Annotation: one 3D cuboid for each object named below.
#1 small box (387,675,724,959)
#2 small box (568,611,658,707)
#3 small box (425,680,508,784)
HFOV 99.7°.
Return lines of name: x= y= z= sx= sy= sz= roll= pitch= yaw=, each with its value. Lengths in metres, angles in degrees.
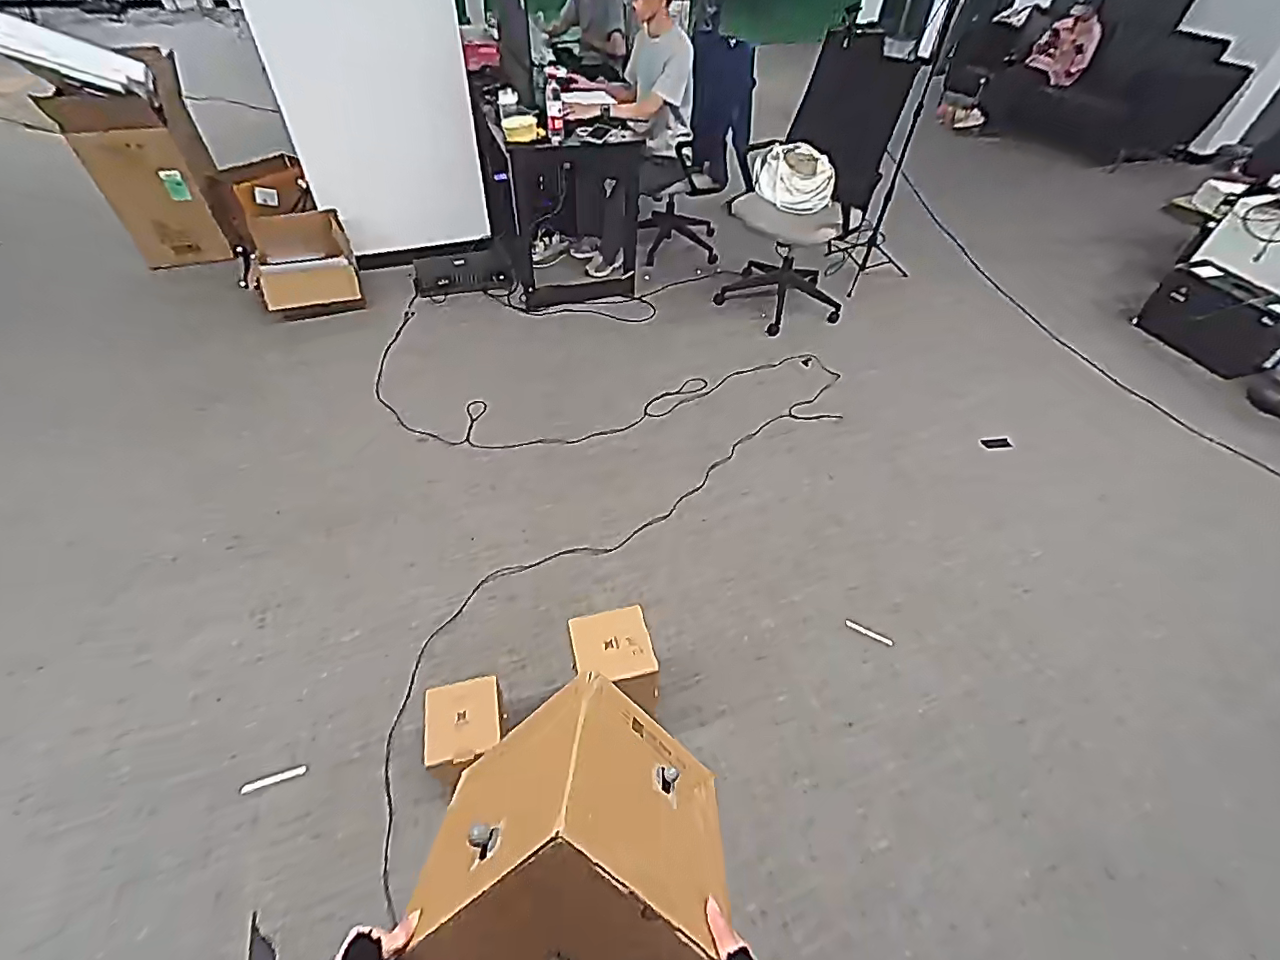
small box: x=-0.052 y=0.302 z=0.436 sx=0.168 sy=0.179 sz=0.176 roll=46 pitch=11 yaw=-10
small box: x=-0.065 y=0.432 z=1.260 sx=0.179 sy=0.176 sz=0.168 roll=-9 pitch=49 yaw=-12
small box: x=-0.410 y=0.612 z=1.301 sx=0.168 sy=0.176 sz=0.179 roll=-8 pitch=48 yaw=-11
